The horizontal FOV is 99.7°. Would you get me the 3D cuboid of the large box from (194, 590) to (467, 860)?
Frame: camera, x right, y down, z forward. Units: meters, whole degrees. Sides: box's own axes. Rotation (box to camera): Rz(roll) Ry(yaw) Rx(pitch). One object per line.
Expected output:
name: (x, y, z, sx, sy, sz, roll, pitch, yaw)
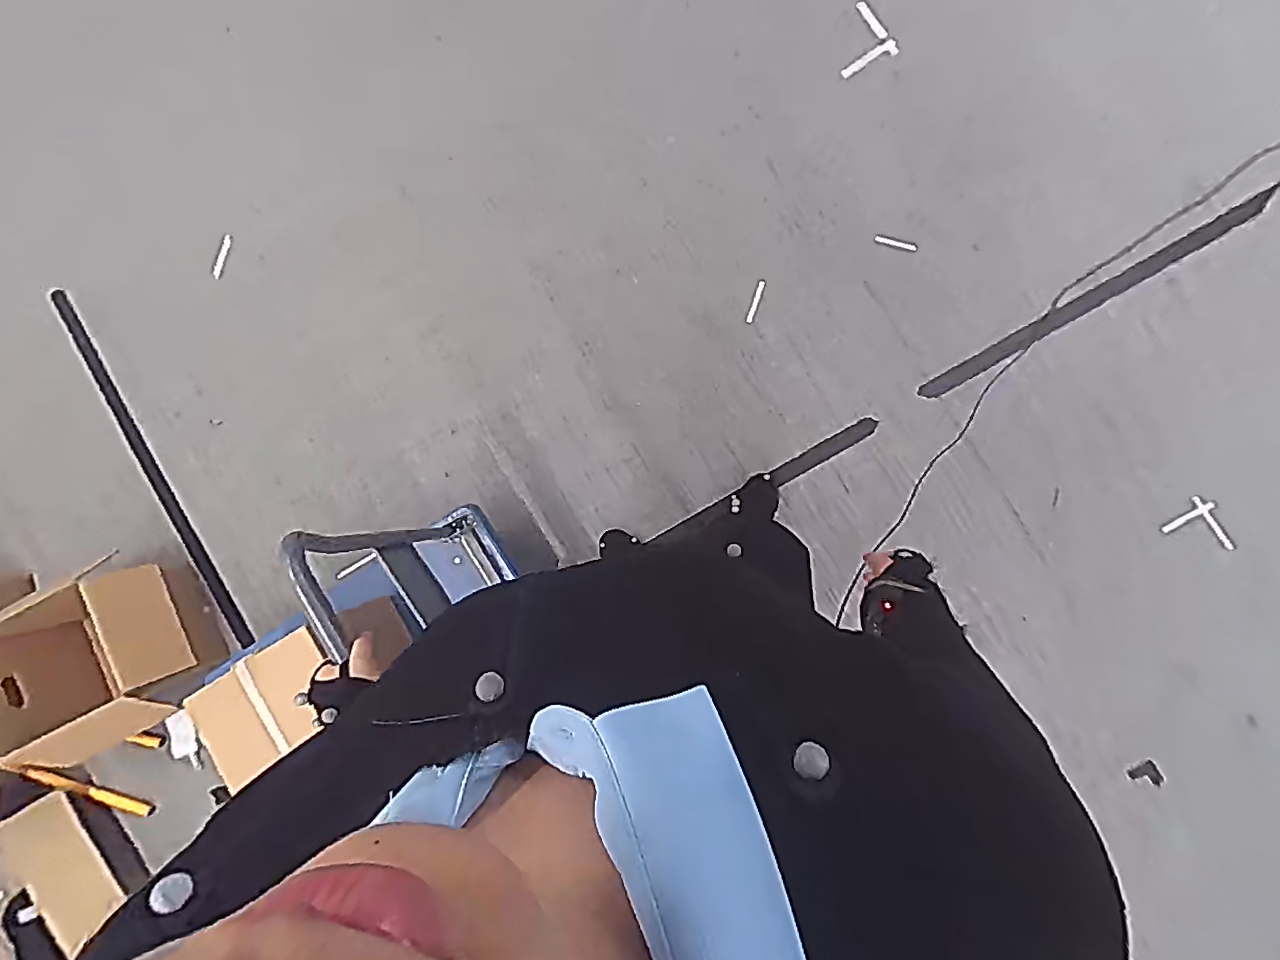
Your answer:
large box: (-0.675, 0.523, 1.238, 0.320, 0.320, 0.408, -32, 87, 5)
